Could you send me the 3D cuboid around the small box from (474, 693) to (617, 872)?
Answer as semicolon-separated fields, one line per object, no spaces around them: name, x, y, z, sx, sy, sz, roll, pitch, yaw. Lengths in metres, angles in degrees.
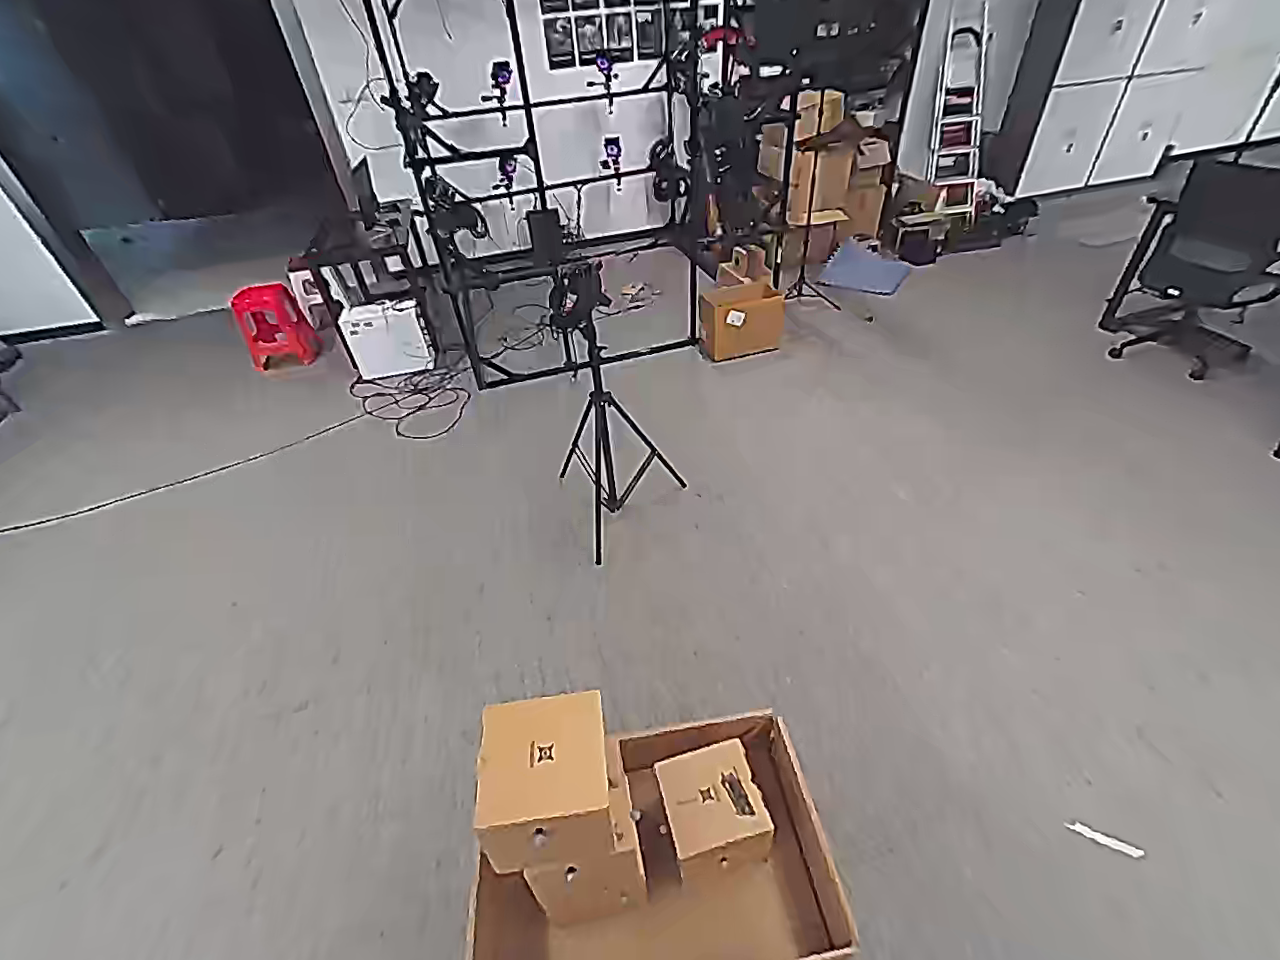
small box;-0.128;0.439;0.786;0.179;0.176;0.168;-7;39;-4

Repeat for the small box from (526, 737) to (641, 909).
small box;-0.095;0.562;0.891;0.168;0.176;0.179;-9;39;-7
